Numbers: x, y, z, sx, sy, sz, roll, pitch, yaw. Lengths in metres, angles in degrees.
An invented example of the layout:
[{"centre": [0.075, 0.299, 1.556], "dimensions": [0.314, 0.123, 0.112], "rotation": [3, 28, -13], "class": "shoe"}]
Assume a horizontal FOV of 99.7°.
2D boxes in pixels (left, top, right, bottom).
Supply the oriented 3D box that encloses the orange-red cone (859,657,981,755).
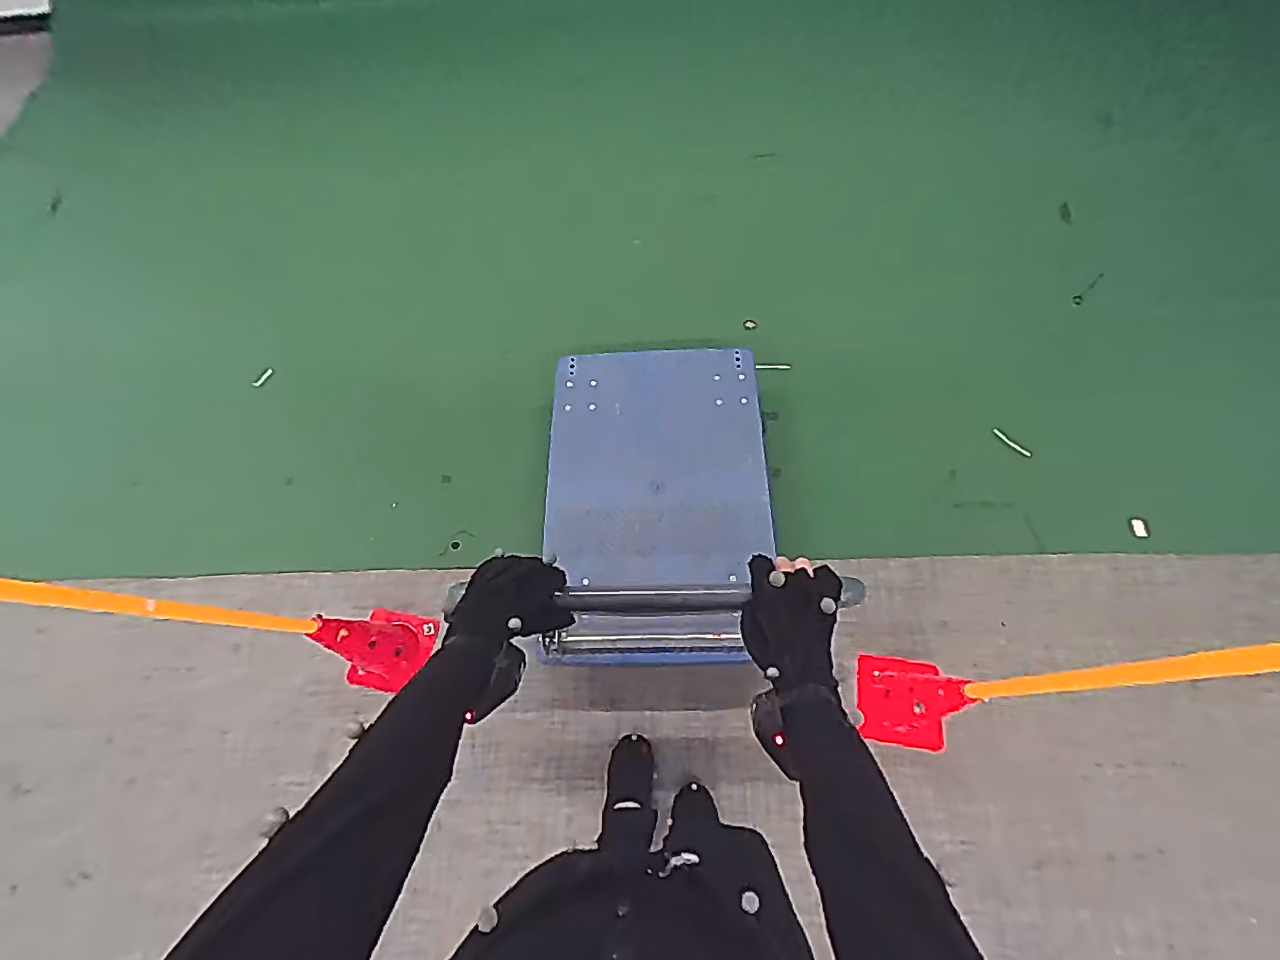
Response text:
[{"centre": [0.620, 0.468, 1.148], "dimensions": [0.198, 0.360, 0.199], "rotation": [8, 66, 8], "class": "orange-red cone"}]
